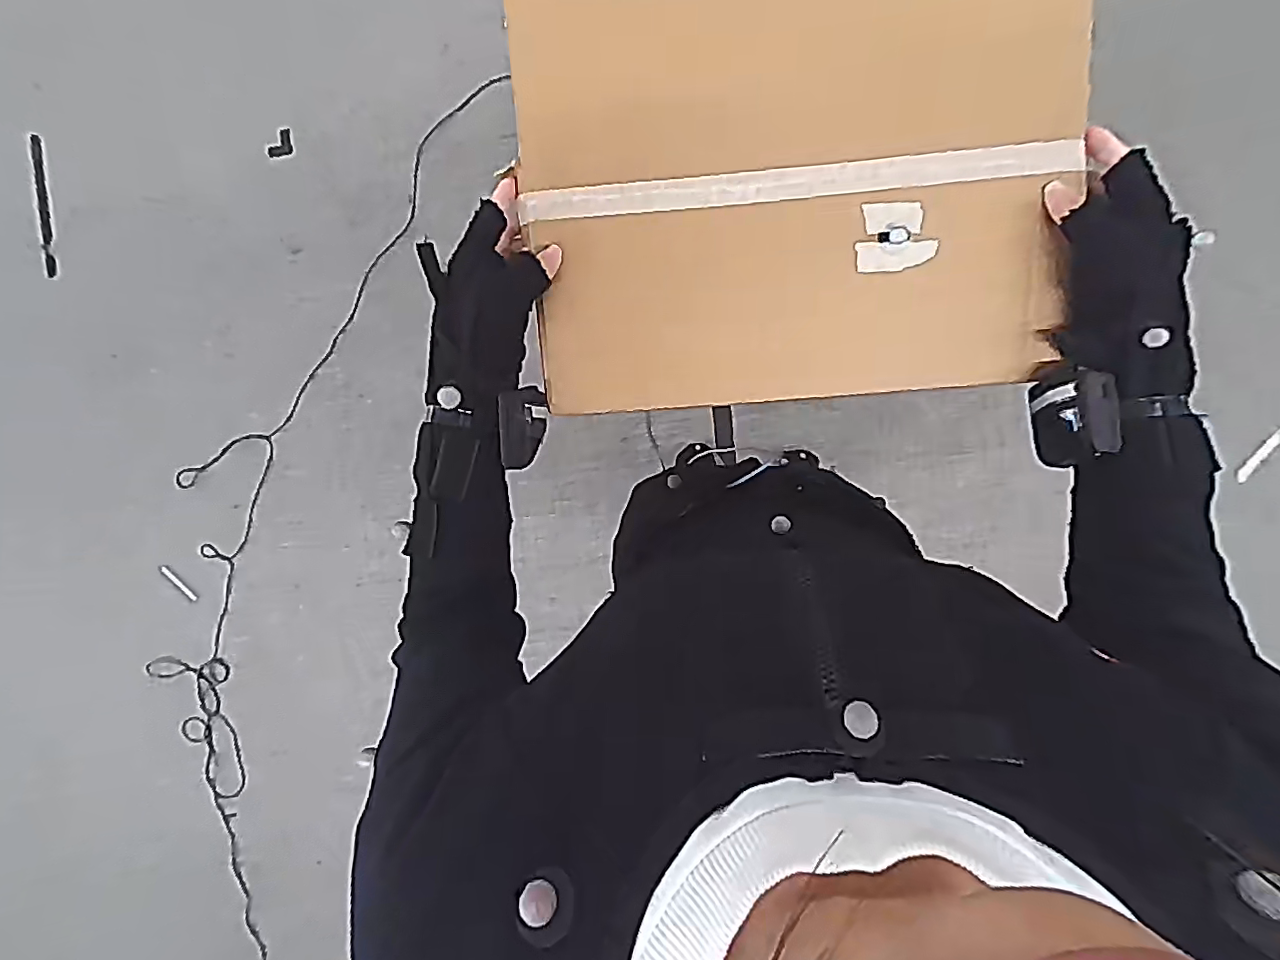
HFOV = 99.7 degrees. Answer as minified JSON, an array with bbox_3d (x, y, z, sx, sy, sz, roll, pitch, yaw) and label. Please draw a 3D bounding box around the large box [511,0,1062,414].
[{"bbox_3d":[0.117,-0.246,0.560,0.408,0.320,0.320,-4,100,2],"label":"large box"}]
